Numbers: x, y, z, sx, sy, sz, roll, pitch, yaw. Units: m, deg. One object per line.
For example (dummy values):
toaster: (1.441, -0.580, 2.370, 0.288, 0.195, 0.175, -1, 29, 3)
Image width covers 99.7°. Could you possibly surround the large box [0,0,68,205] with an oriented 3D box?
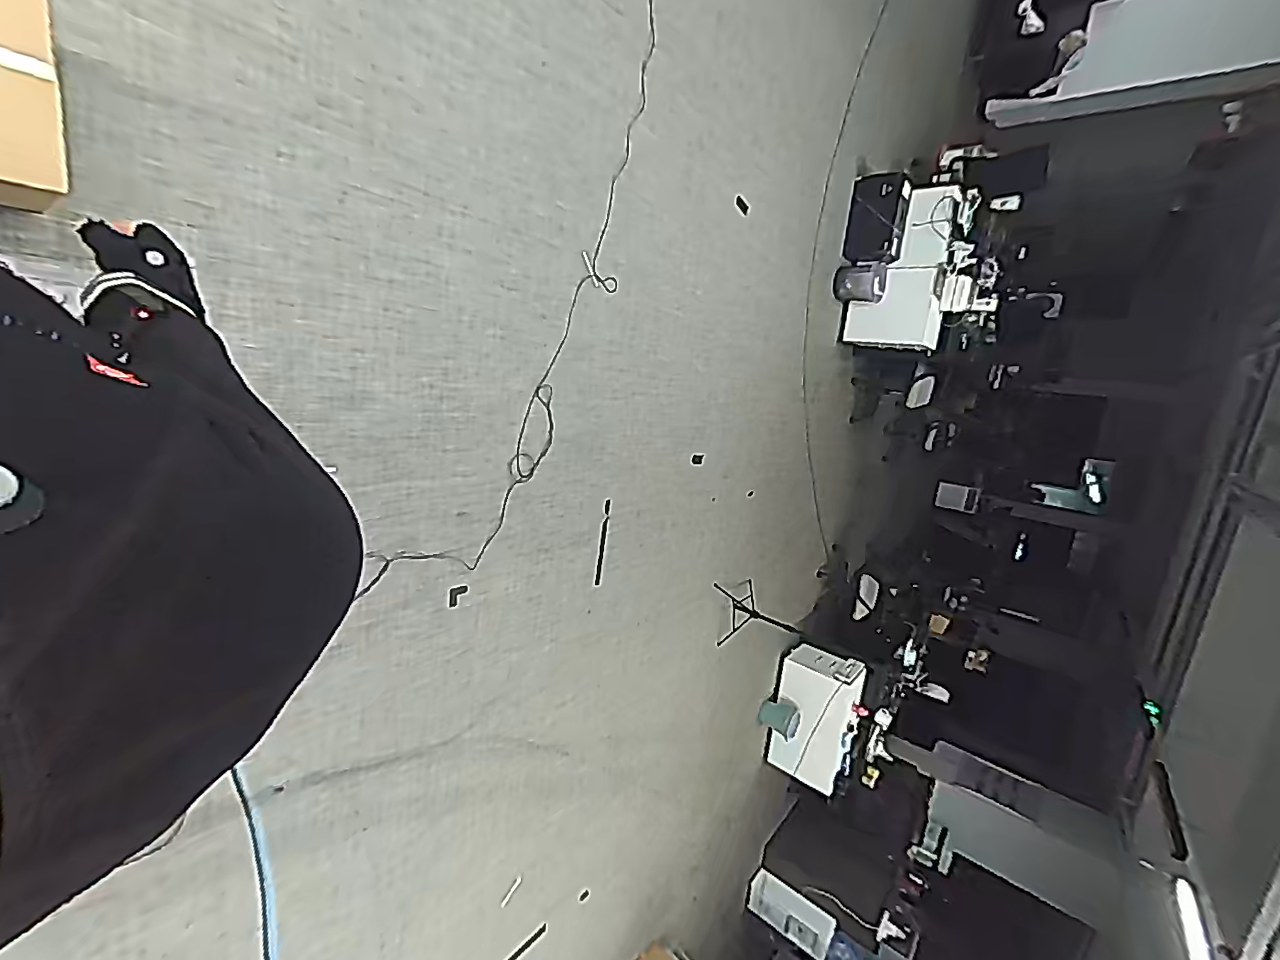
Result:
large box: (-1.071, -0.587, 0.698, 0.408, 0.320, 0.320, -10, 110, -52)
